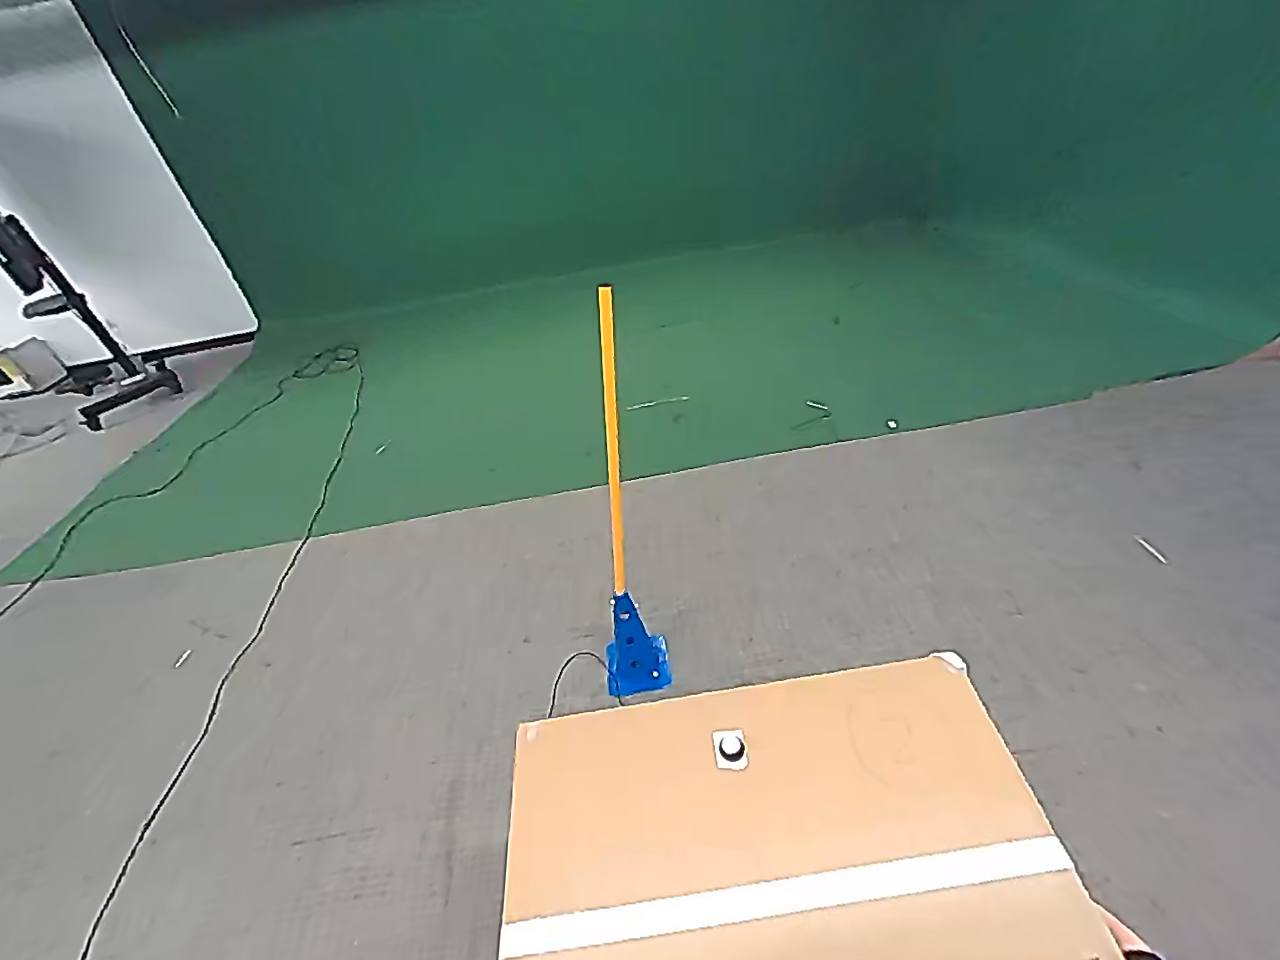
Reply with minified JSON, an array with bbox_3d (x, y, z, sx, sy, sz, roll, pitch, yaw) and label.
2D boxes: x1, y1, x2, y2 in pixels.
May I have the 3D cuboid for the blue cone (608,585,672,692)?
[{"bbox_3d":[-0.026,0.446,1.619,0.193,0.380,0.192,-11,38,-3],"label":"blue cone"}]
